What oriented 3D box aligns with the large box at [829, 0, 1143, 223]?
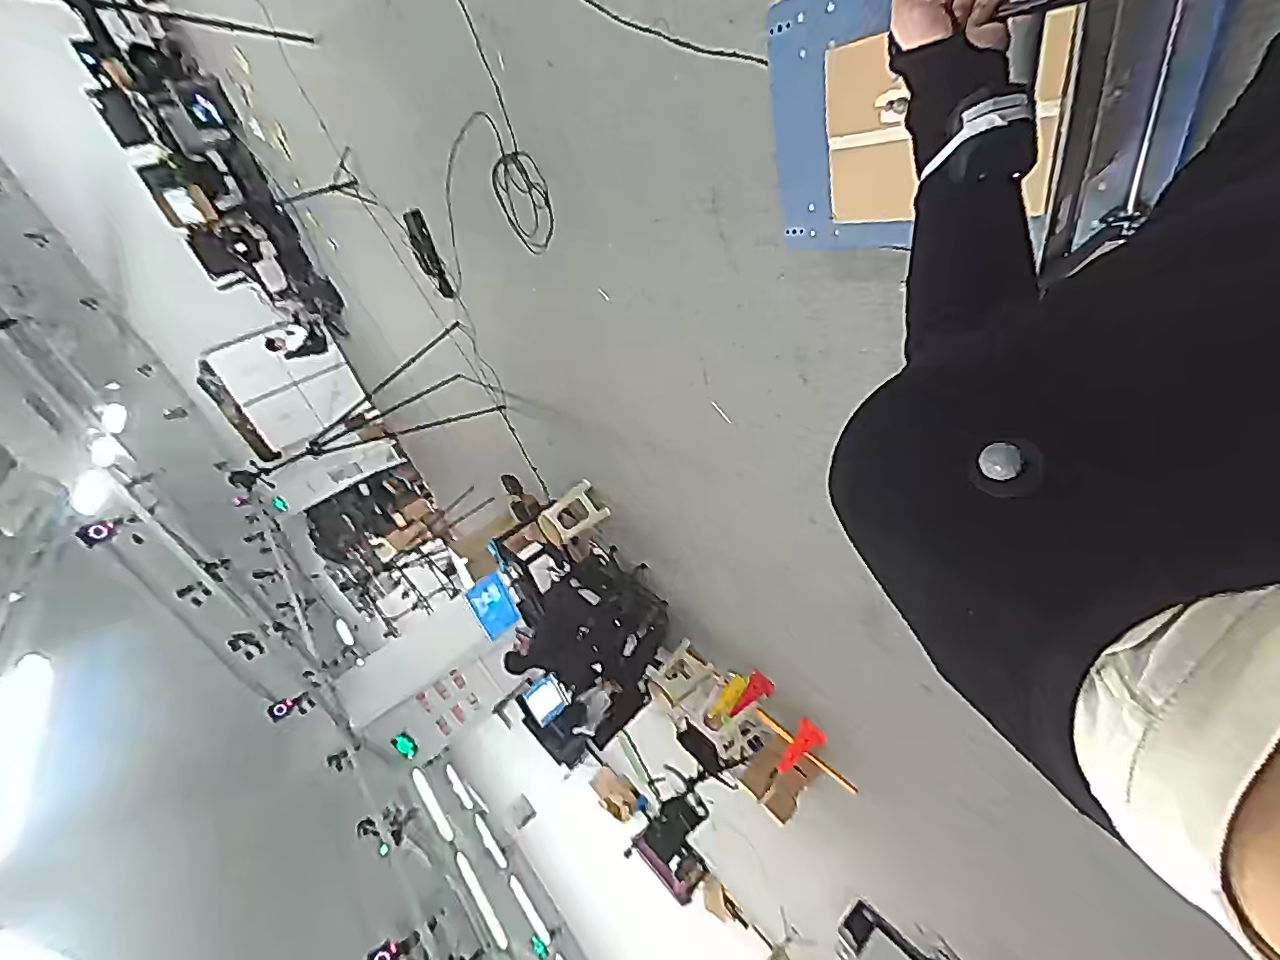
[{"bbox_3d":[0.628,-0.706,1.022,0.408,0.320,0.320,26,141,46],"label":"large box"}]
